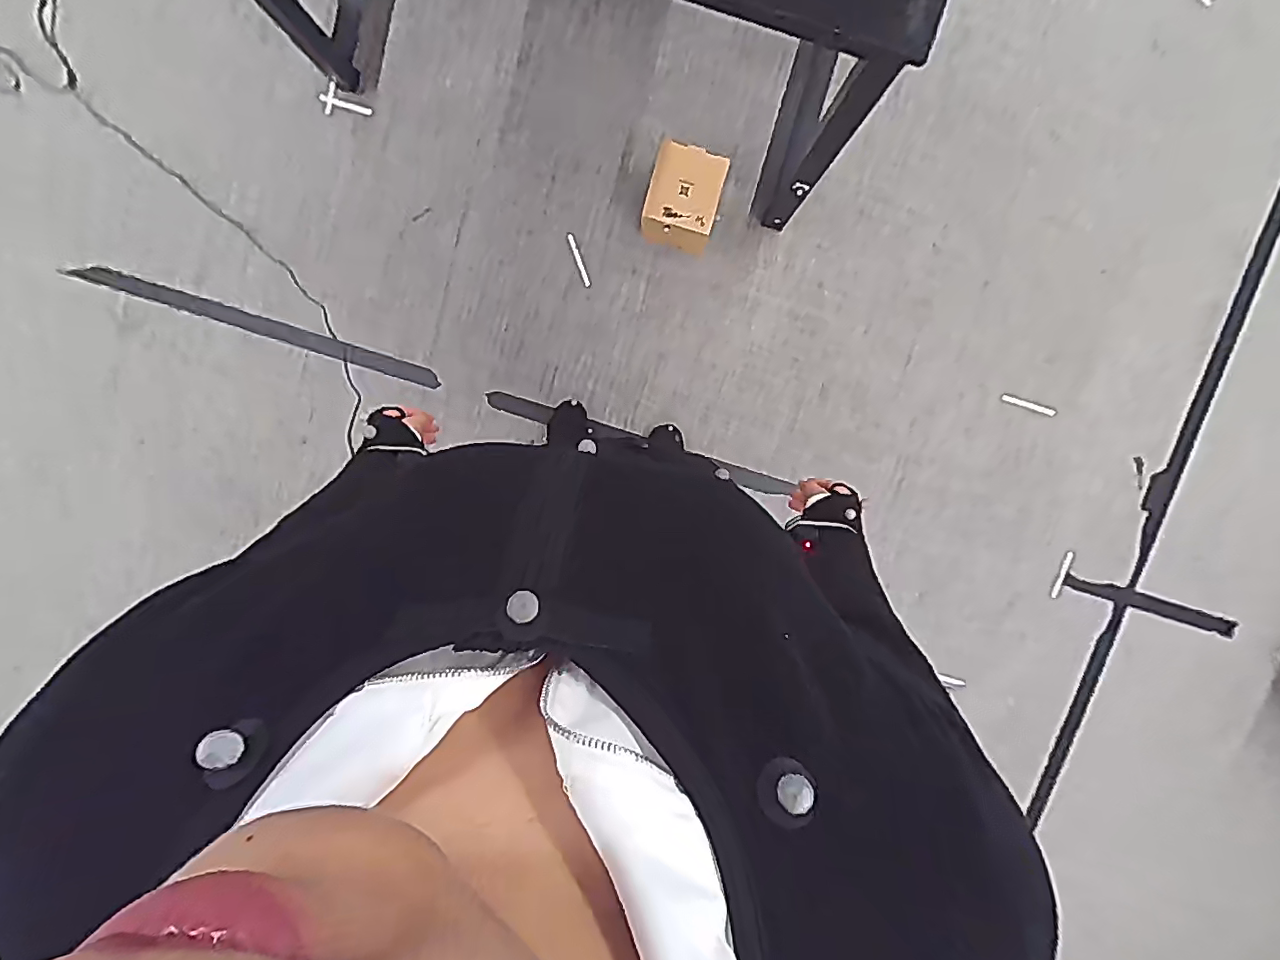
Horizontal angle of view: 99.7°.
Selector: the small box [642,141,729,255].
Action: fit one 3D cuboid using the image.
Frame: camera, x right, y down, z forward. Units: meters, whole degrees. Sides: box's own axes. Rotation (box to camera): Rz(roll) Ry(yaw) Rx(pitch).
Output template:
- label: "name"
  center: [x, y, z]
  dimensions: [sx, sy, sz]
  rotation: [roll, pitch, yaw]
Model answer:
- label: "small box"
  center: [0.104, -0.682, 1.325]
  dimensions: [0.168, 0.176, 0.179]
  rotation: [16, 97, -1]
